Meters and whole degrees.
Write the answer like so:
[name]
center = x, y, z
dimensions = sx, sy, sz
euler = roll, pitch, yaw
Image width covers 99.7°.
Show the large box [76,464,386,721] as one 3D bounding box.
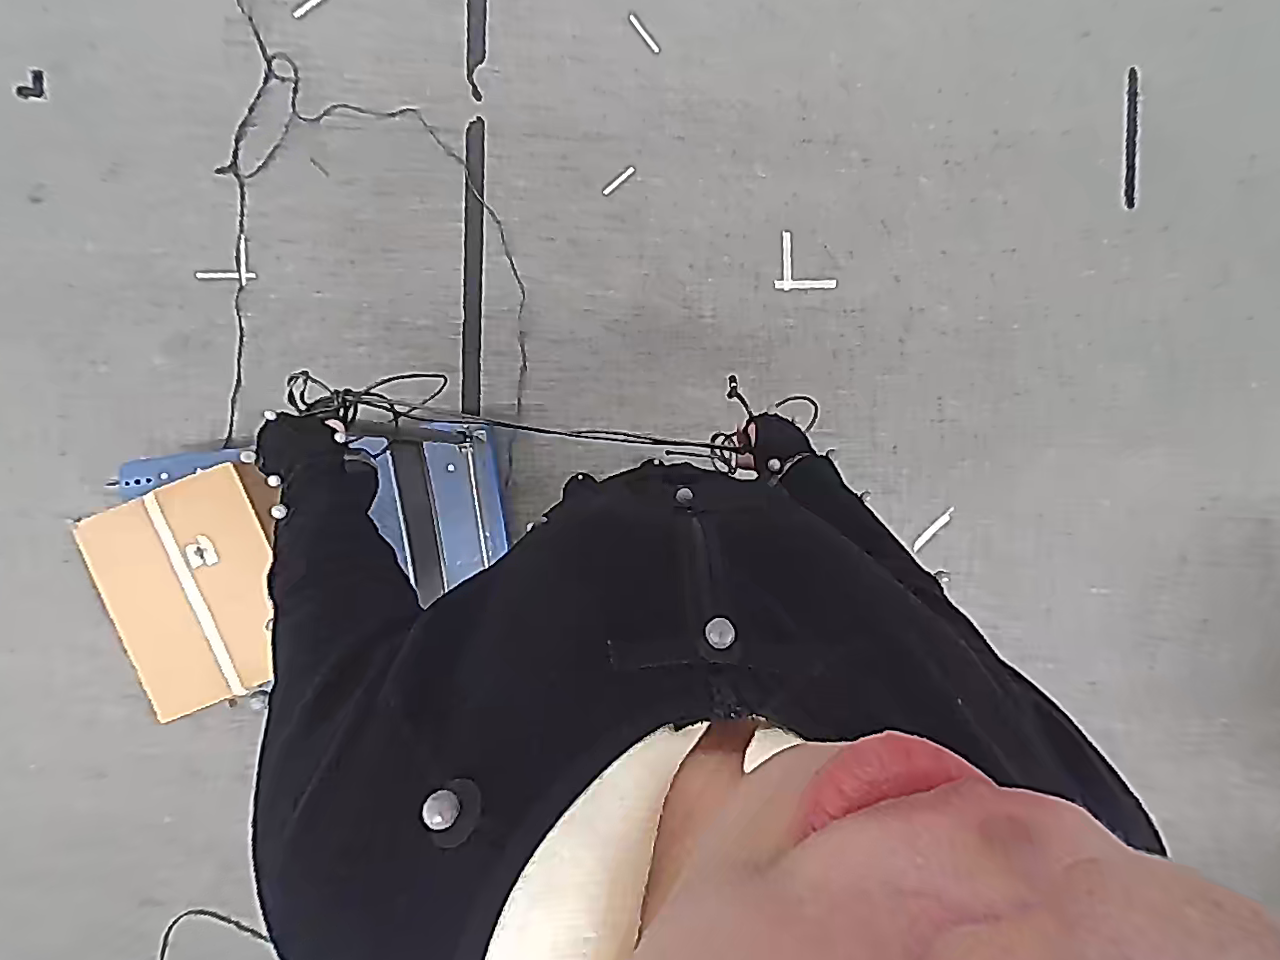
[large box]
center = -0.816, 0.206, 1.142
dimensions = 0.320, 0.320, 0.408
euler = -23, 92, -2
